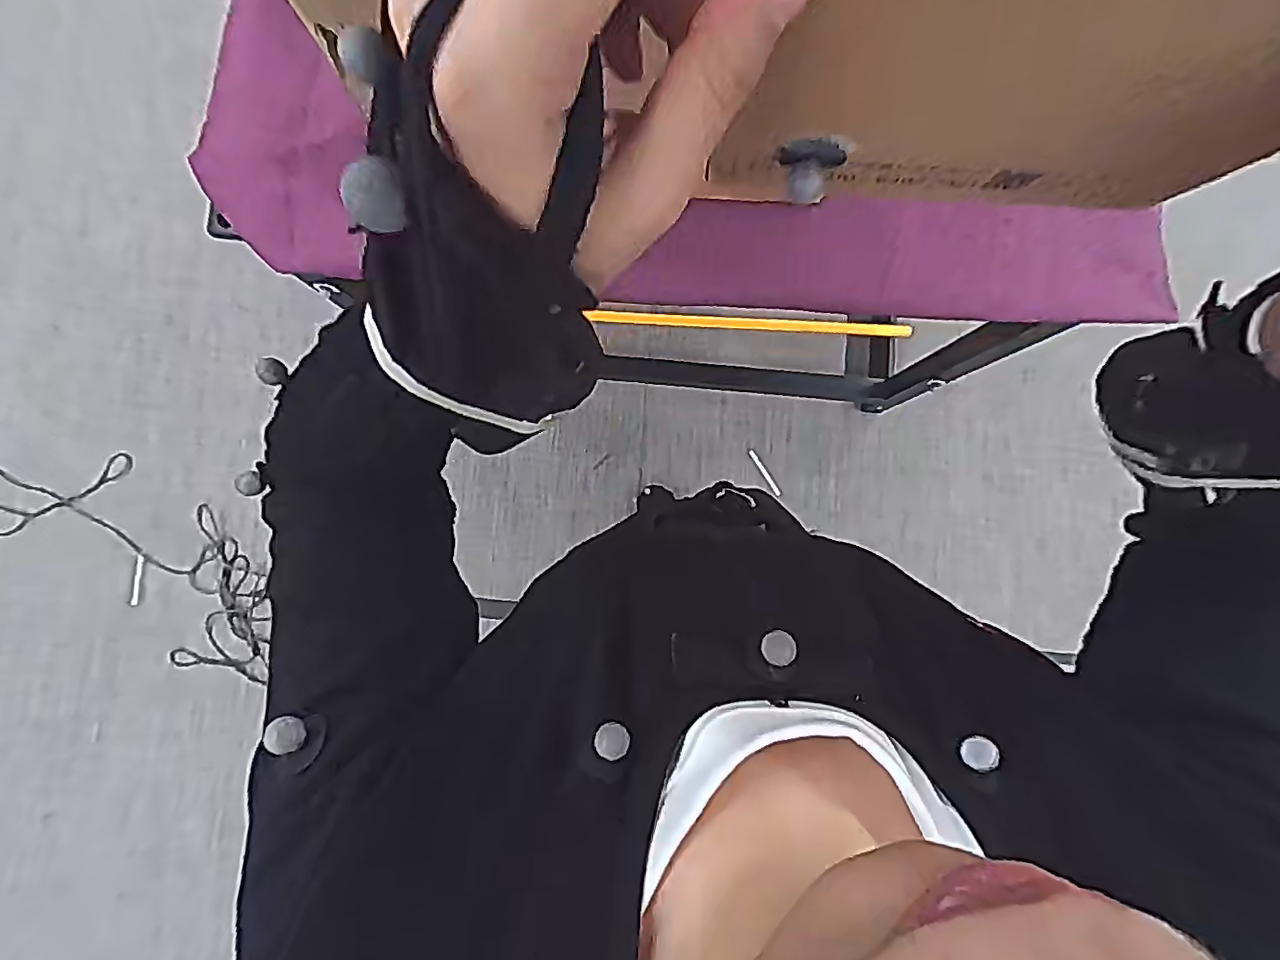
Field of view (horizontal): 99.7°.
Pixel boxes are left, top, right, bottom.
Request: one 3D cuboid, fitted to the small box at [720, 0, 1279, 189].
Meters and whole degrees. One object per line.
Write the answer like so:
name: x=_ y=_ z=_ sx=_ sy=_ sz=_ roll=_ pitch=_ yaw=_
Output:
small box: x=0.110 y=-0.183 z=0.111 sx=0.168 sy=0.176 sz=0.179 roll=4 pitch=96 yaw=2
